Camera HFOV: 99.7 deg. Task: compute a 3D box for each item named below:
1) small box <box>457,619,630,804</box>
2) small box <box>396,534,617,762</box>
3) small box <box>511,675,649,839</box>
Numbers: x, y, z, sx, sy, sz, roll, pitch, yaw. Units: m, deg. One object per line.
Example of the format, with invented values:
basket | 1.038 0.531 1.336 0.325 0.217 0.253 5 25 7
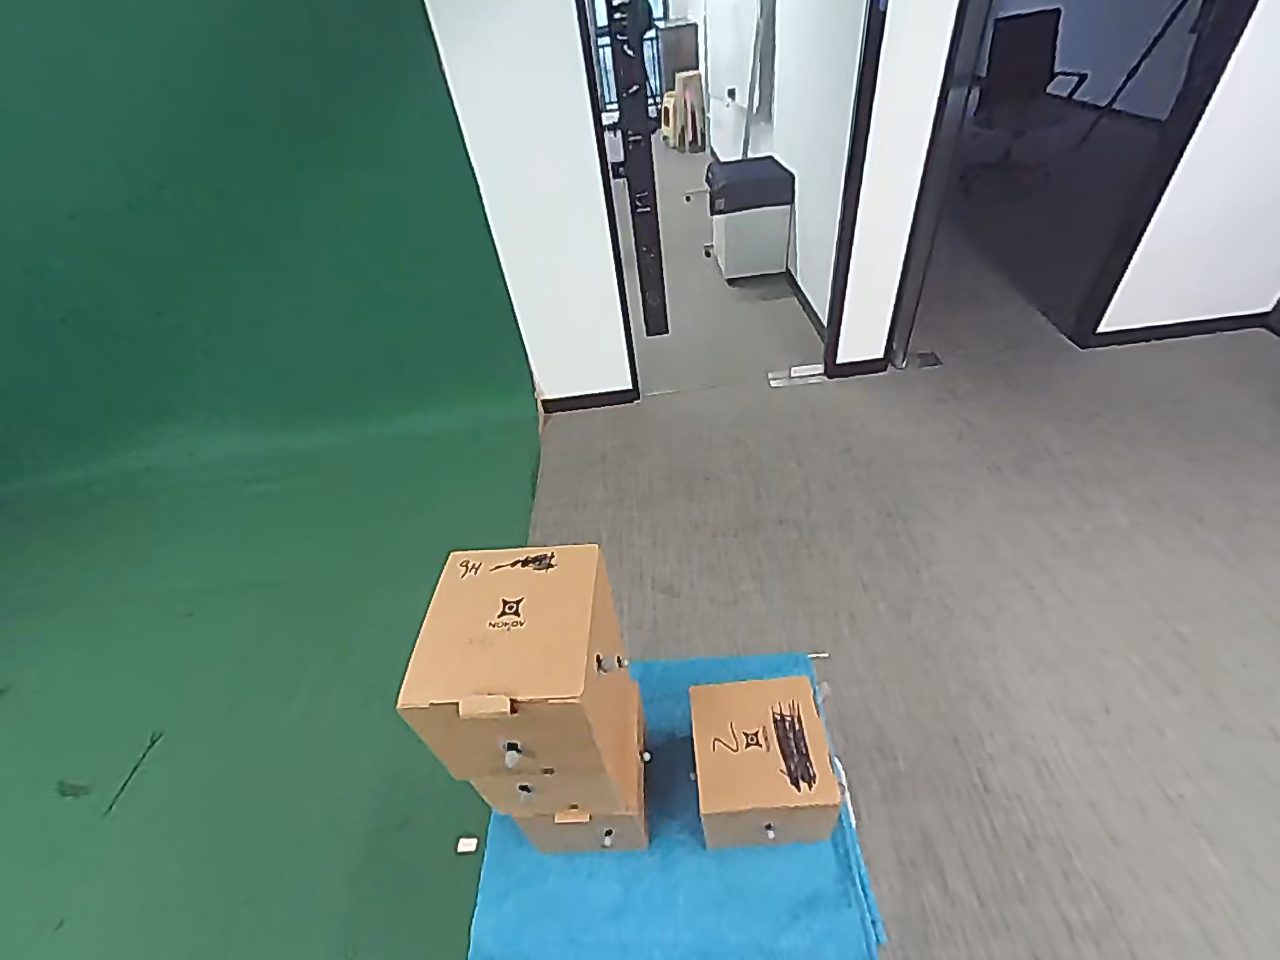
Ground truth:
small box | -0.105 0.293 0.688 0.168 0.176 0.179 -3 41 6
small box | -0.118 0.179 0.569 0.168 0.176 0.179 -3 42 5
small box | -0.075 0.410 0.795 0.168 0.176 0.179 -4 42 5
